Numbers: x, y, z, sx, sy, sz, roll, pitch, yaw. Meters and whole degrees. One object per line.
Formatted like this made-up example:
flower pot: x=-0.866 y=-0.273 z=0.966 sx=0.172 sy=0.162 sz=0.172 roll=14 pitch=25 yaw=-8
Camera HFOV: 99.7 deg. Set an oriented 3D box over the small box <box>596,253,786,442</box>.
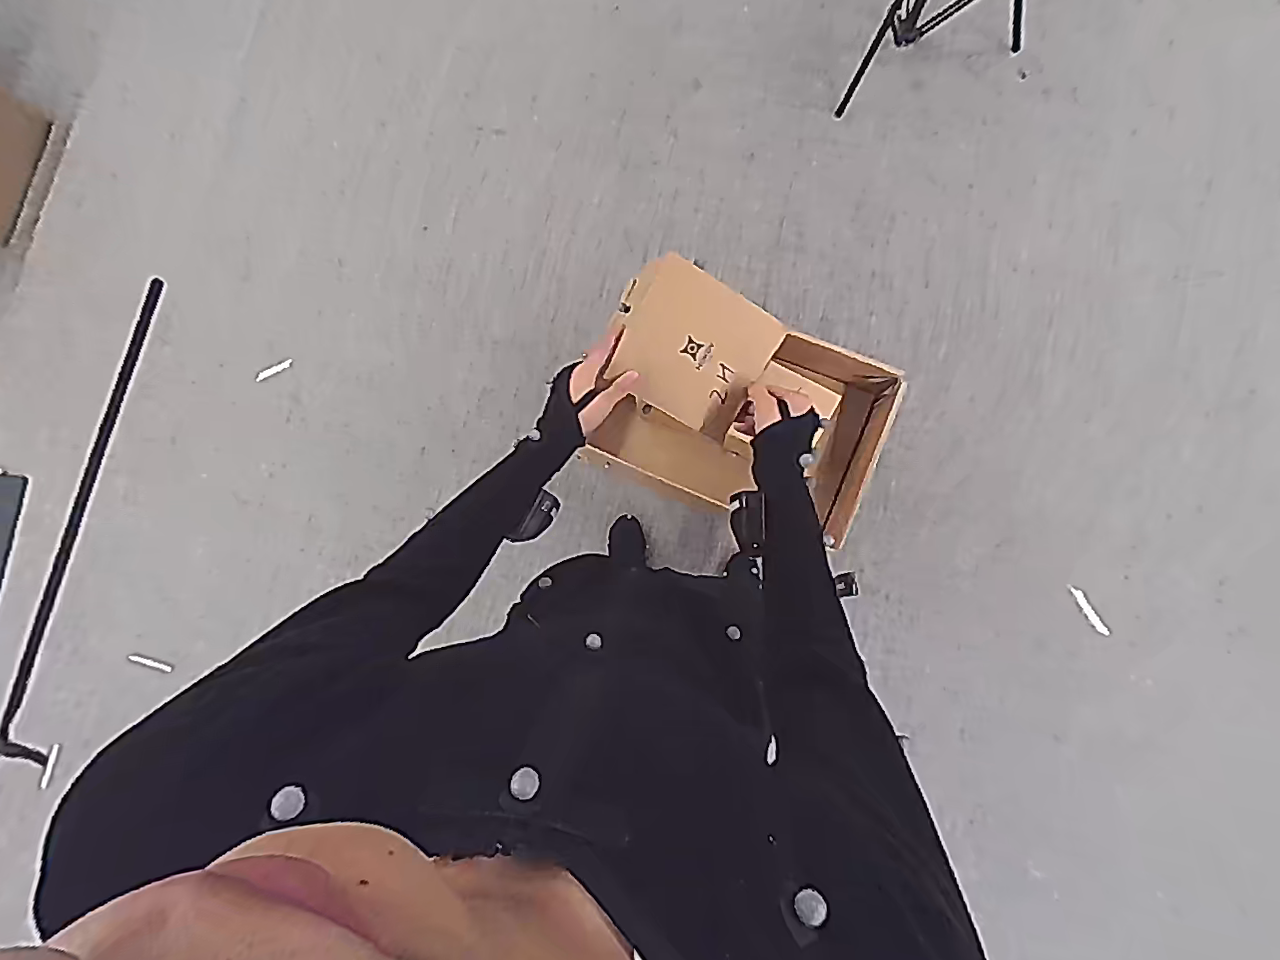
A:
small box: x=0.053 y=-0.174 z=0.722 sx=0.179 sy=0.176 sz=0.168 roll=27 pitch=102 yaw=-16
